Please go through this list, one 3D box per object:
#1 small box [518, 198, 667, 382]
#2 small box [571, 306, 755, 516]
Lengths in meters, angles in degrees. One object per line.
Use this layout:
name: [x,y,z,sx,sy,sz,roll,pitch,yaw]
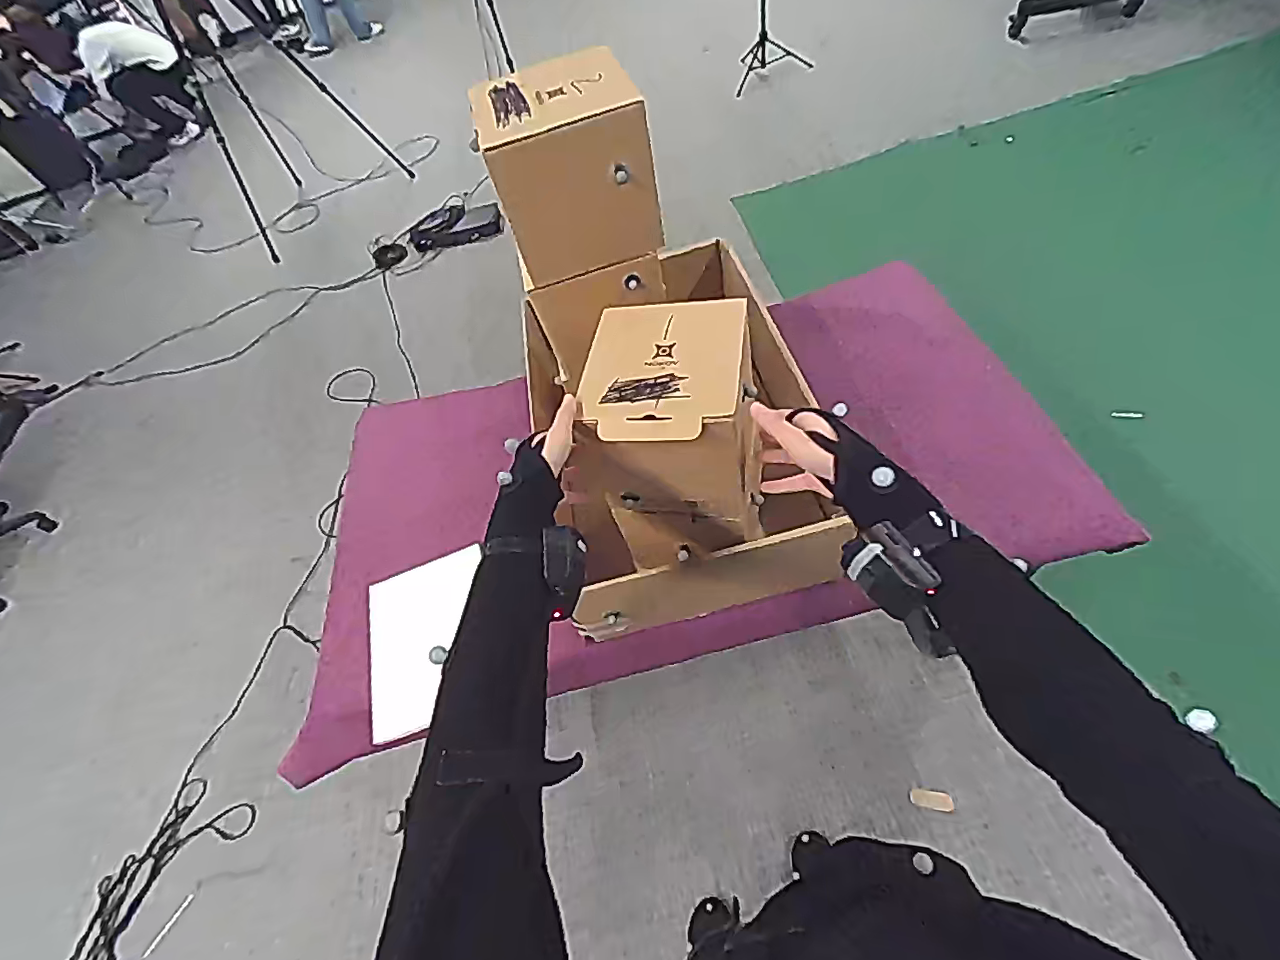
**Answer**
small box: [-0.061,-0.271,0.792,0.179,0.176,0.168,-17,55,1]
small box: [0.041,-0.072,0.621,0.168,0.176,0.179,1,54,16]
